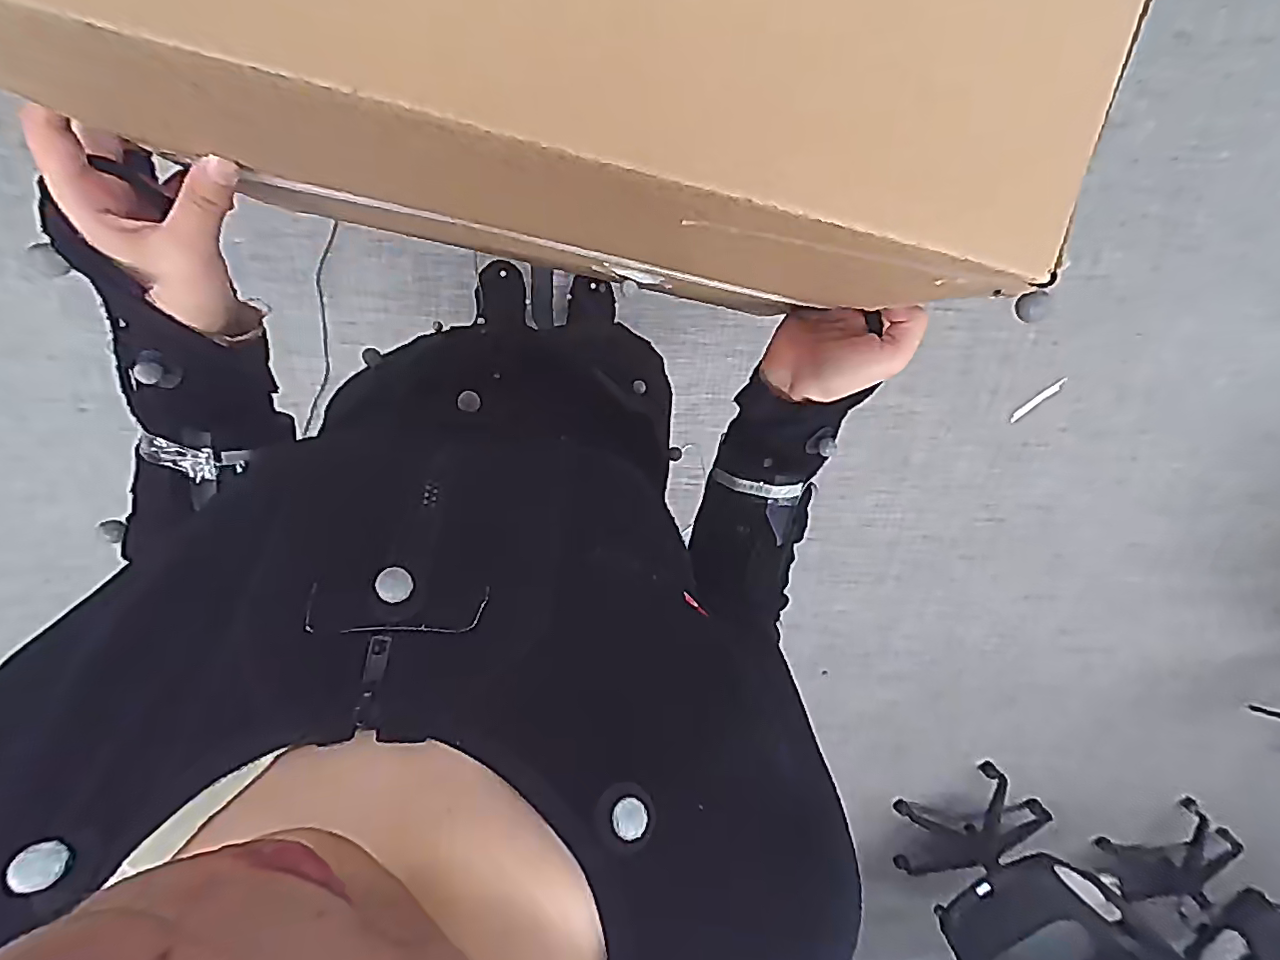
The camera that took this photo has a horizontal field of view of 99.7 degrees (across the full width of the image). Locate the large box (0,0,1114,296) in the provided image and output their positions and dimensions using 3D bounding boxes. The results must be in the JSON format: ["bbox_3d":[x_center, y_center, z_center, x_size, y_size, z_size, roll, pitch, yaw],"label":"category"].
[{"bbox_3d":[-0.044,-0.294,0.267,0.408,0.320,0.320,7,106,-11],"label":"large box"}]
